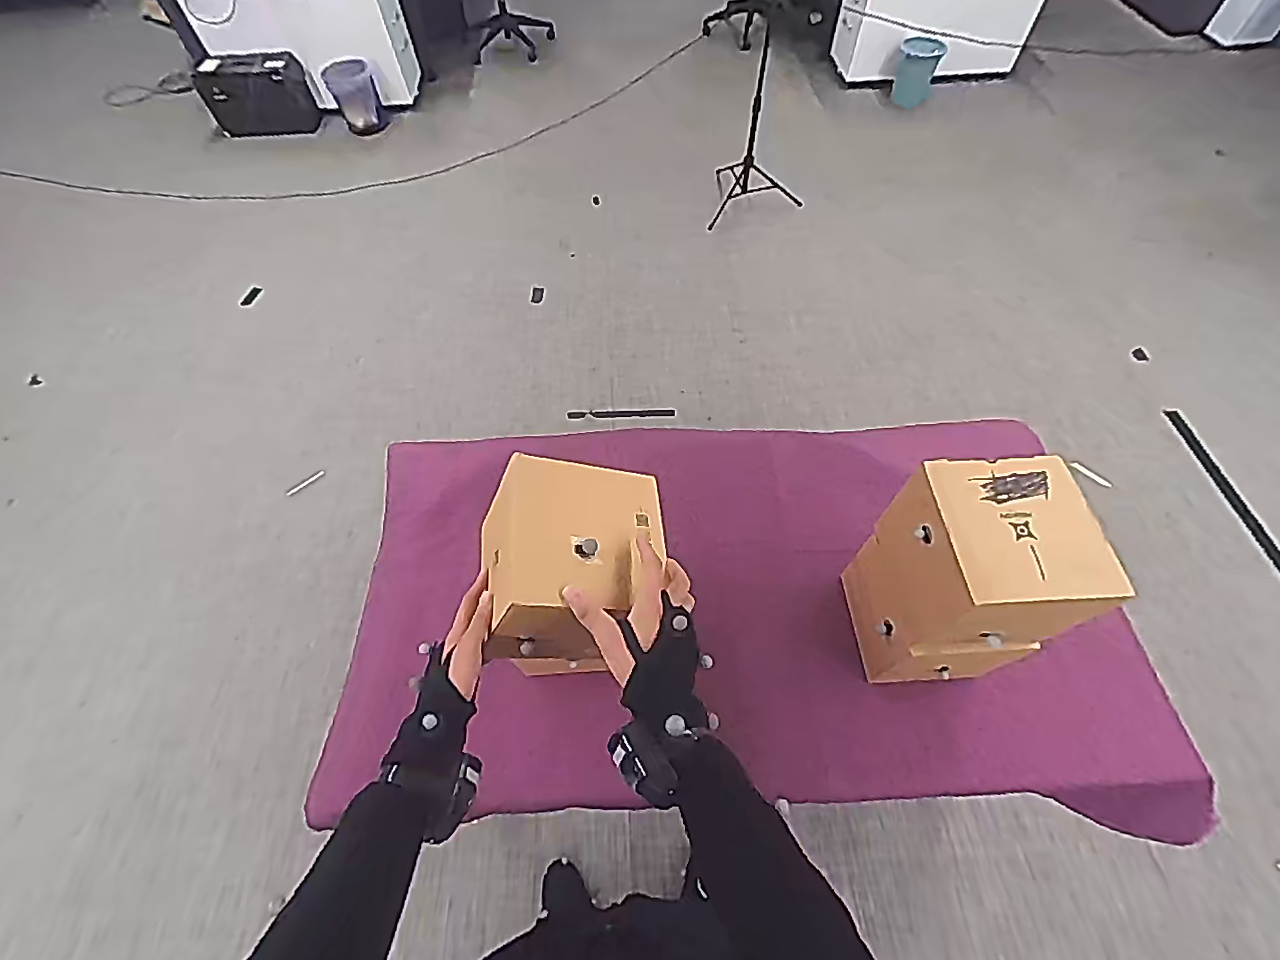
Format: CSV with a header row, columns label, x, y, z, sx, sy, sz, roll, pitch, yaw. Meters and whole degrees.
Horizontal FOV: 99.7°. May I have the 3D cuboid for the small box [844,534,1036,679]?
label,x,y,z,sx,sy,sz,roll,pitch,yaw
small box,0.420,0.189,0.794,0.168,0.176,0.179,-2,58,0

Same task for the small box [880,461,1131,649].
label,x,y,z,sx,sy,sz,roll,pitch,yaw
small box,0.417,0.095,0.659,0.168,0.176,0.179,-2,59,1

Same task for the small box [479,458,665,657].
label,x,y,z,sx,sy,sz,roll,pitch,yaw
small box,-0.078,0.097,0.616,0.176,0.179,0.168,10,55,-23
